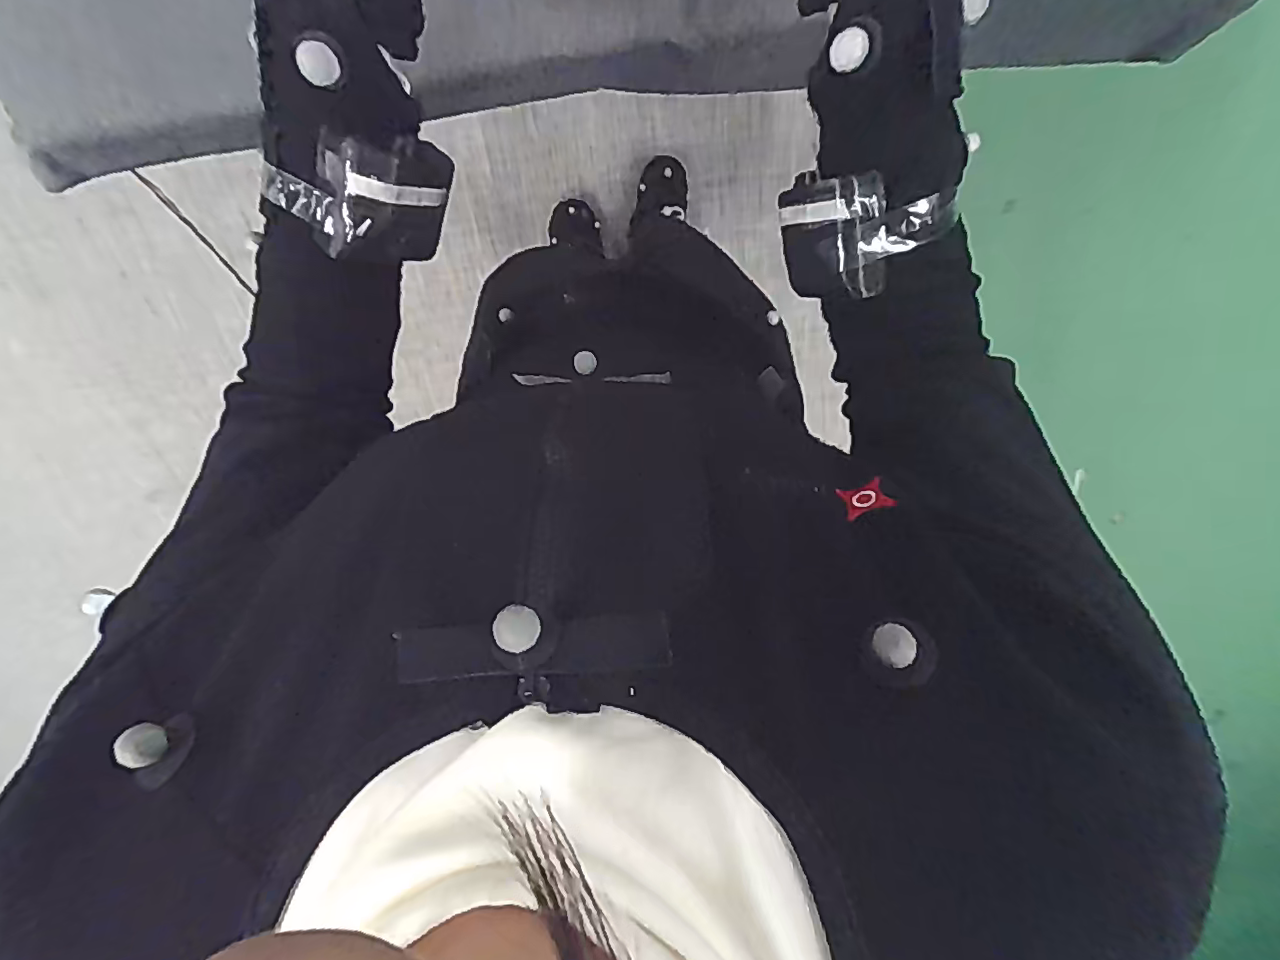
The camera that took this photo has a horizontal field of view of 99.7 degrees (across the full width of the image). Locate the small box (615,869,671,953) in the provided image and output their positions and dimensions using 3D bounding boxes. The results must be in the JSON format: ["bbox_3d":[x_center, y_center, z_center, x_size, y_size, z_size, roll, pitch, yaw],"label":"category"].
[{"bbox_3d":[0.007,1.522,1.914,0.179,0.176,0.168,-10,118,-1],"label":"small box"}]
